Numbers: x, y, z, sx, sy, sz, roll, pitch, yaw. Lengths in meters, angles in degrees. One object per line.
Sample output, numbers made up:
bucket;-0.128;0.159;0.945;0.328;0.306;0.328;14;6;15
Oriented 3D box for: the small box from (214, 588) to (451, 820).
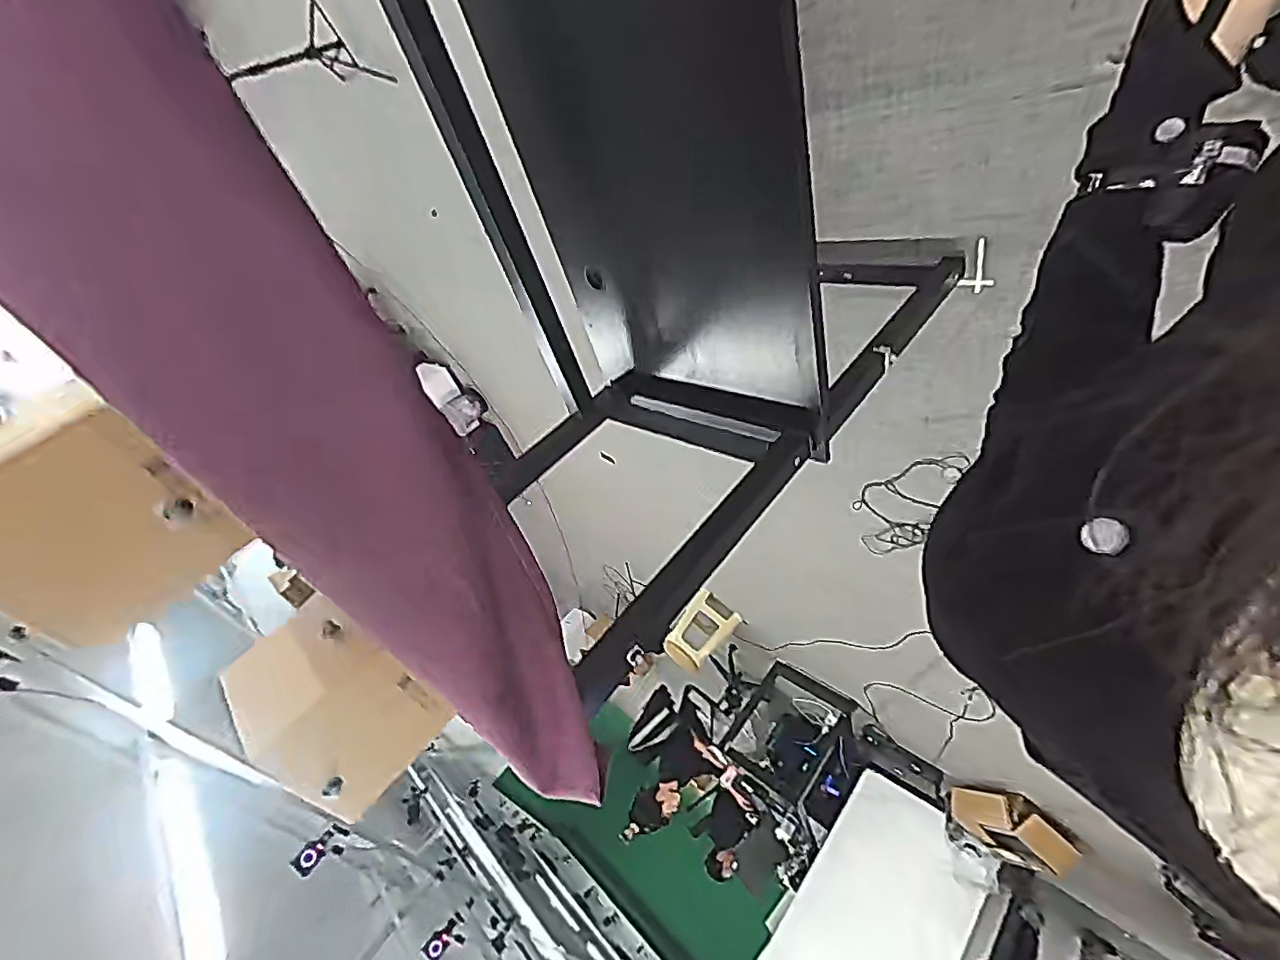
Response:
small box;-0.368;0.260;0.665;0.179;0.176;0.168;22;146;42
